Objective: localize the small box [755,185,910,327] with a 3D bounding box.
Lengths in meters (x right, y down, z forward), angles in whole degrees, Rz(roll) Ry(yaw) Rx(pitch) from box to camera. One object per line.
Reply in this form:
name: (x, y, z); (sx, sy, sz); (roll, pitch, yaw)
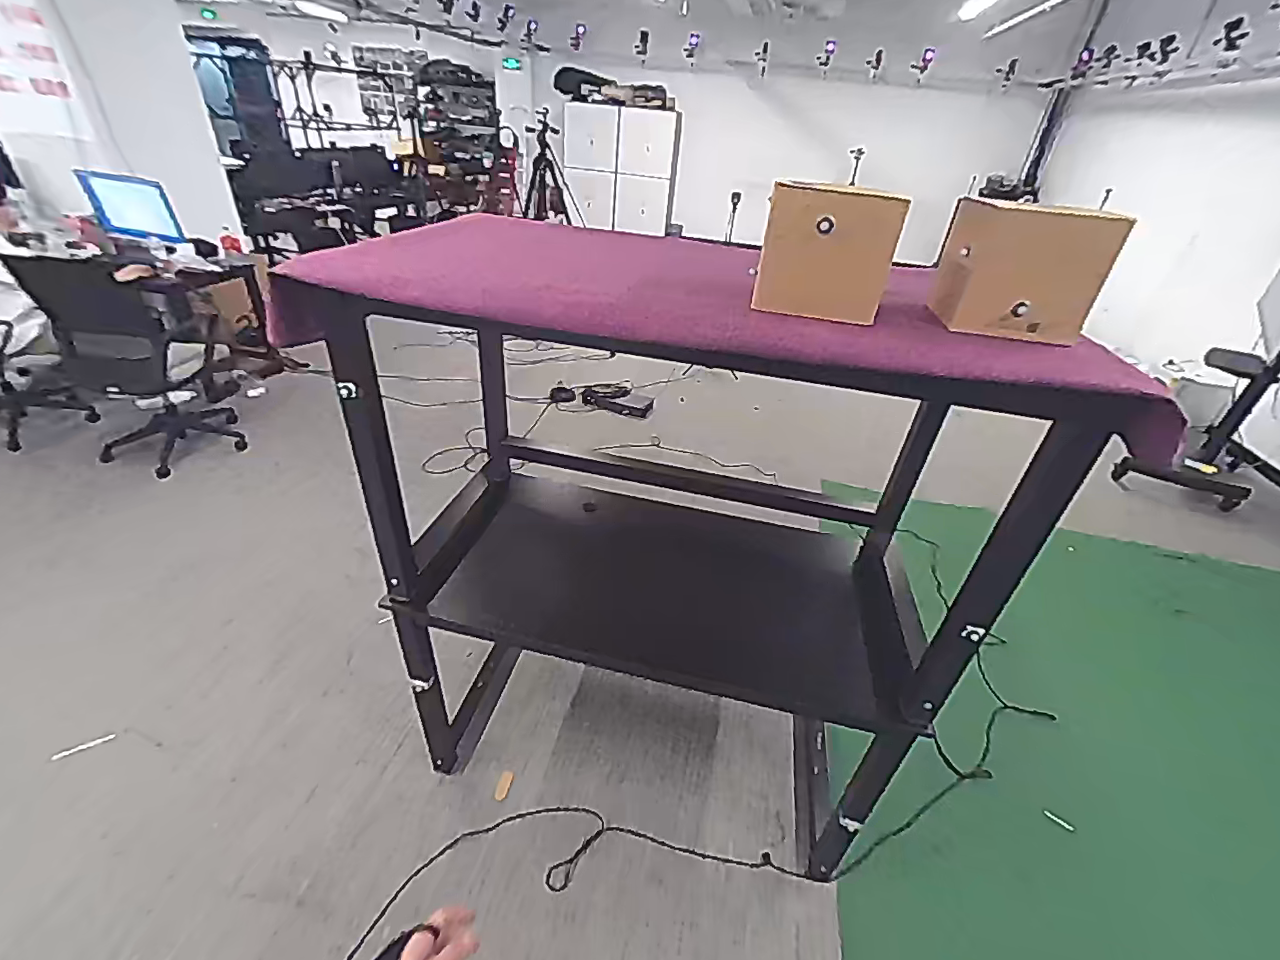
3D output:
small box: (0.275, -0.338, 0.813); (0.179, 0.176, 0.168); (11, 33, 8)
